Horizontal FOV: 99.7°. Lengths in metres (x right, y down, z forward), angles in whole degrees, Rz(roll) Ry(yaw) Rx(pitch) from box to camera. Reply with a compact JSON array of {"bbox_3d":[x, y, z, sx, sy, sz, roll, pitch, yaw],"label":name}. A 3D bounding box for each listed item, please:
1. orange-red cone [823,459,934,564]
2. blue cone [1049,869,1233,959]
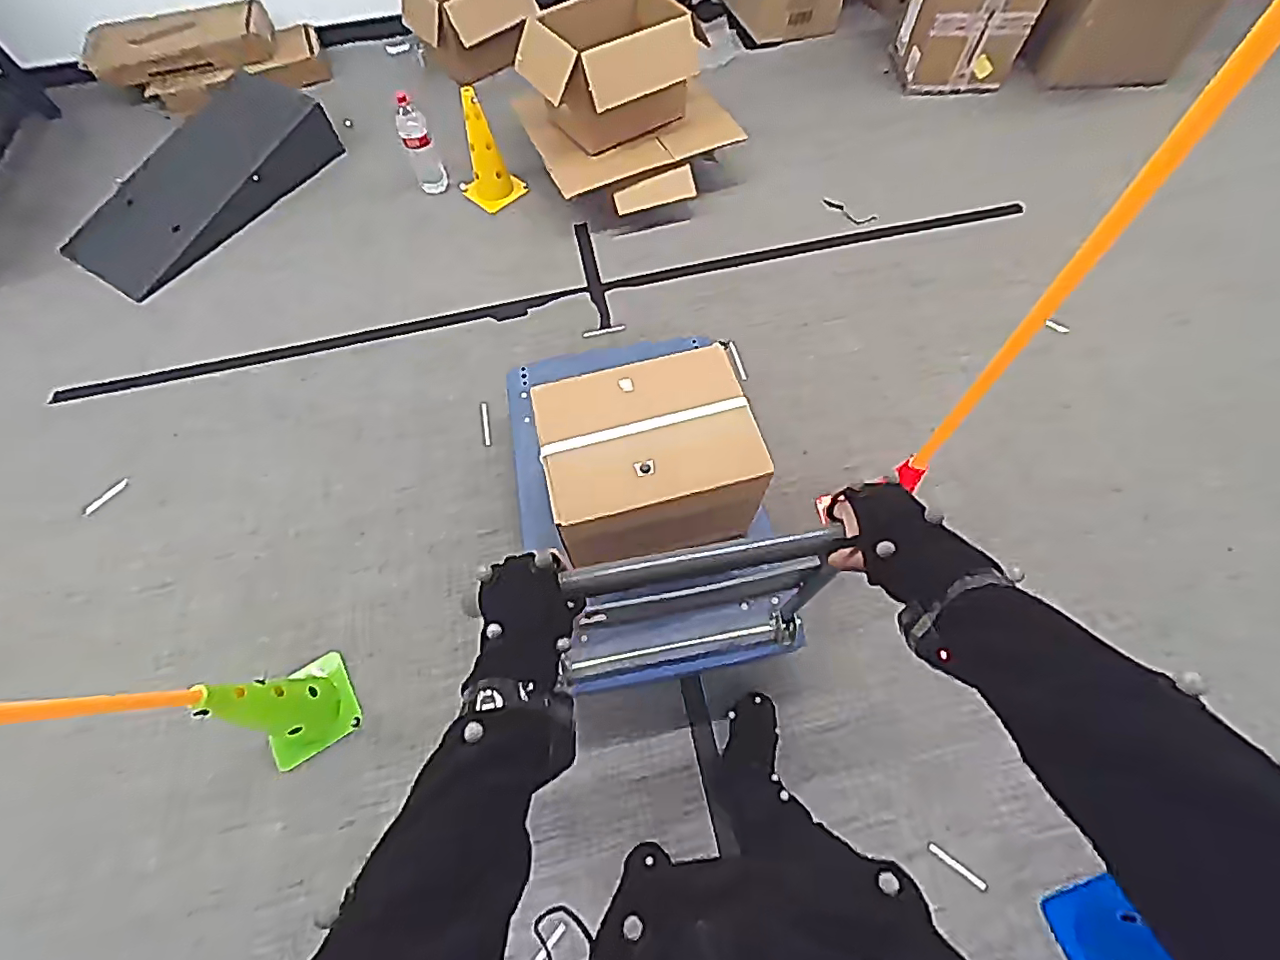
[{"bbox_3d":[0.593,0.048,1.273,0.199,0.360,0.198,-6,64,-2],"label":"orange-red cone"},{"bbox_3d":[0.913,0.815,0.899,0.193,0.380,0.192,-15,63,-6],"label":"blue cone"}]
